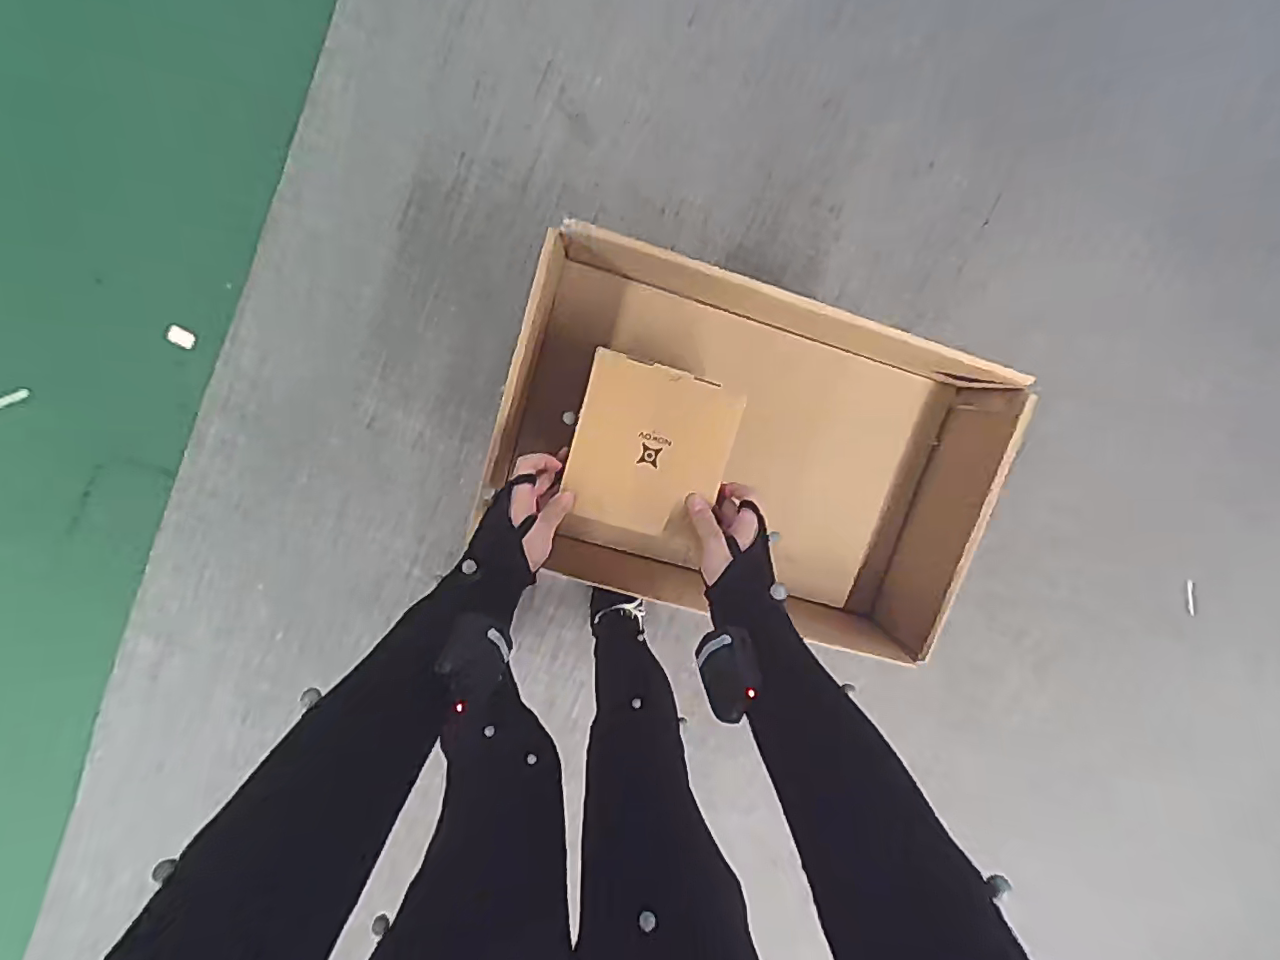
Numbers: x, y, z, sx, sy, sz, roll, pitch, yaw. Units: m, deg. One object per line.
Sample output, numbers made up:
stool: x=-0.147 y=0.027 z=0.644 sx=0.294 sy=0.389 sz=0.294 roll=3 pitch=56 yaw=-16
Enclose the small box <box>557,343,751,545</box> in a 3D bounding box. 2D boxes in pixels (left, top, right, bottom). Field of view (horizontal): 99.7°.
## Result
small box: x=0.009 y=-0.045 z=0.636 sx=0.168 sy=0.176 sz=0.179 roll=15 pitch=96 yaw=-7
